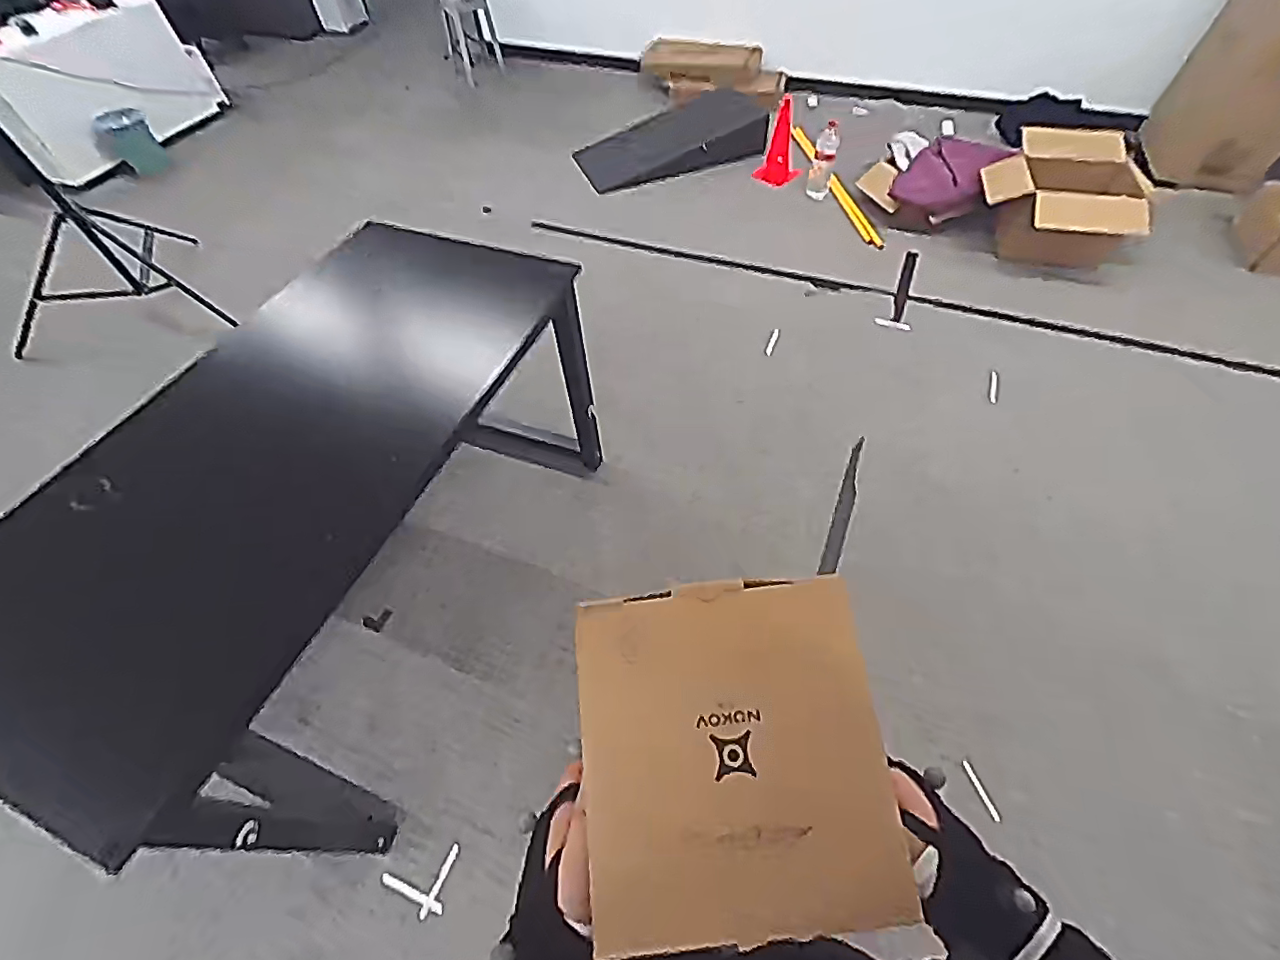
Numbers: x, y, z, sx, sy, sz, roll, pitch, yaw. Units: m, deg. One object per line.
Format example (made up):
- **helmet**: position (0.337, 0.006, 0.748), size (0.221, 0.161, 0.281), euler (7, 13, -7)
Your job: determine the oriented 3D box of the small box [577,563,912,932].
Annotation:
- **small box**: position (0.052, 0.169, 0.379), size (0.168, 0.176, 0.179), euler (-7, 69, 0)
